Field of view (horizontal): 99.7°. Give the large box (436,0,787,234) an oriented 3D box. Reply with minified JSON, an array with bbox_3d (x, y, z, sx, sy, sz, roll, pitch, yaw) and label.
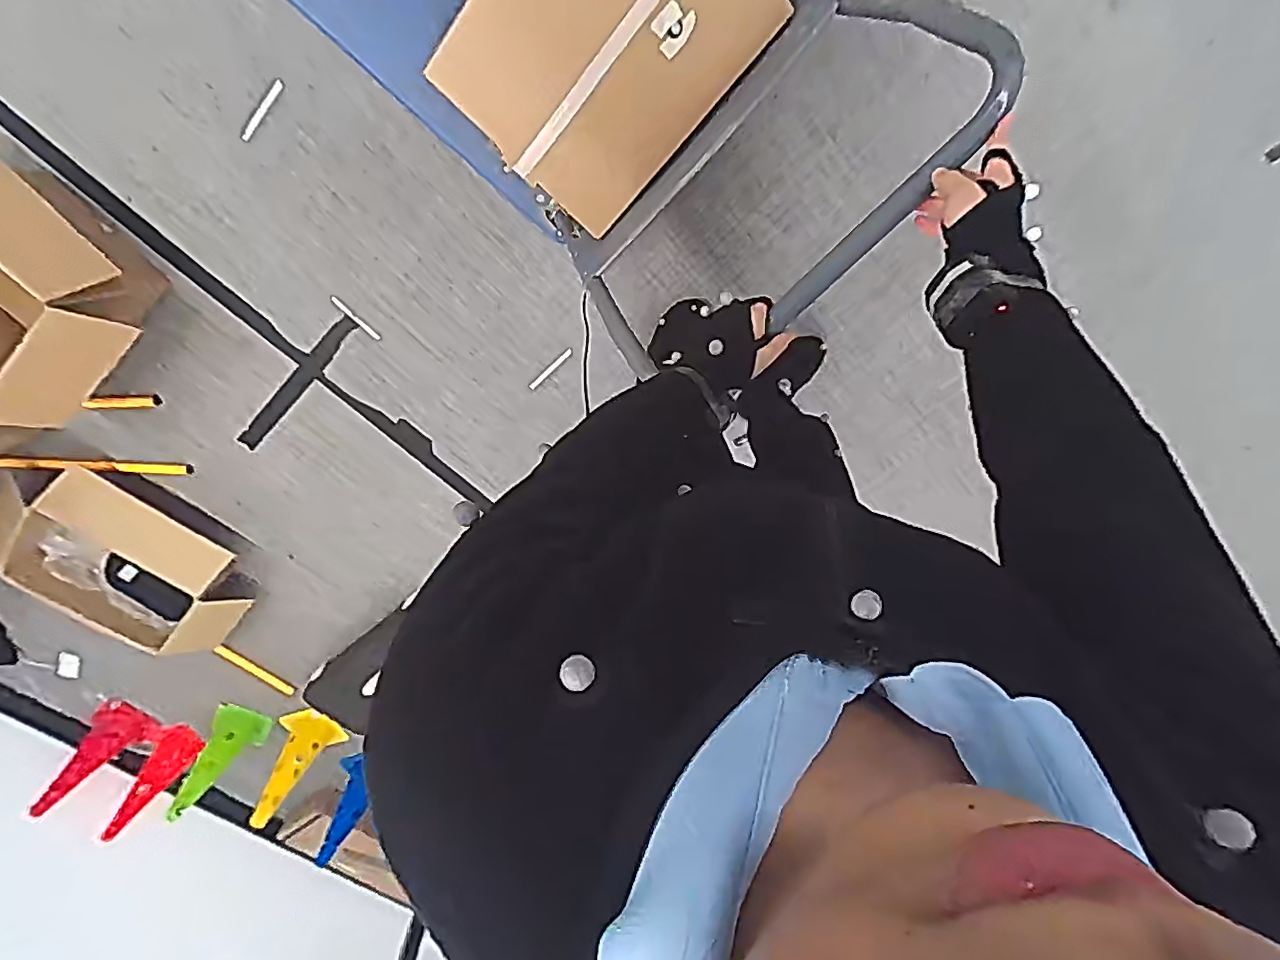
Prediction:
[{"bbox_3d":[-0.067,-0.682,0.835,0.320,0.320,0.408,31,115,-37],"label":"large box"}]
